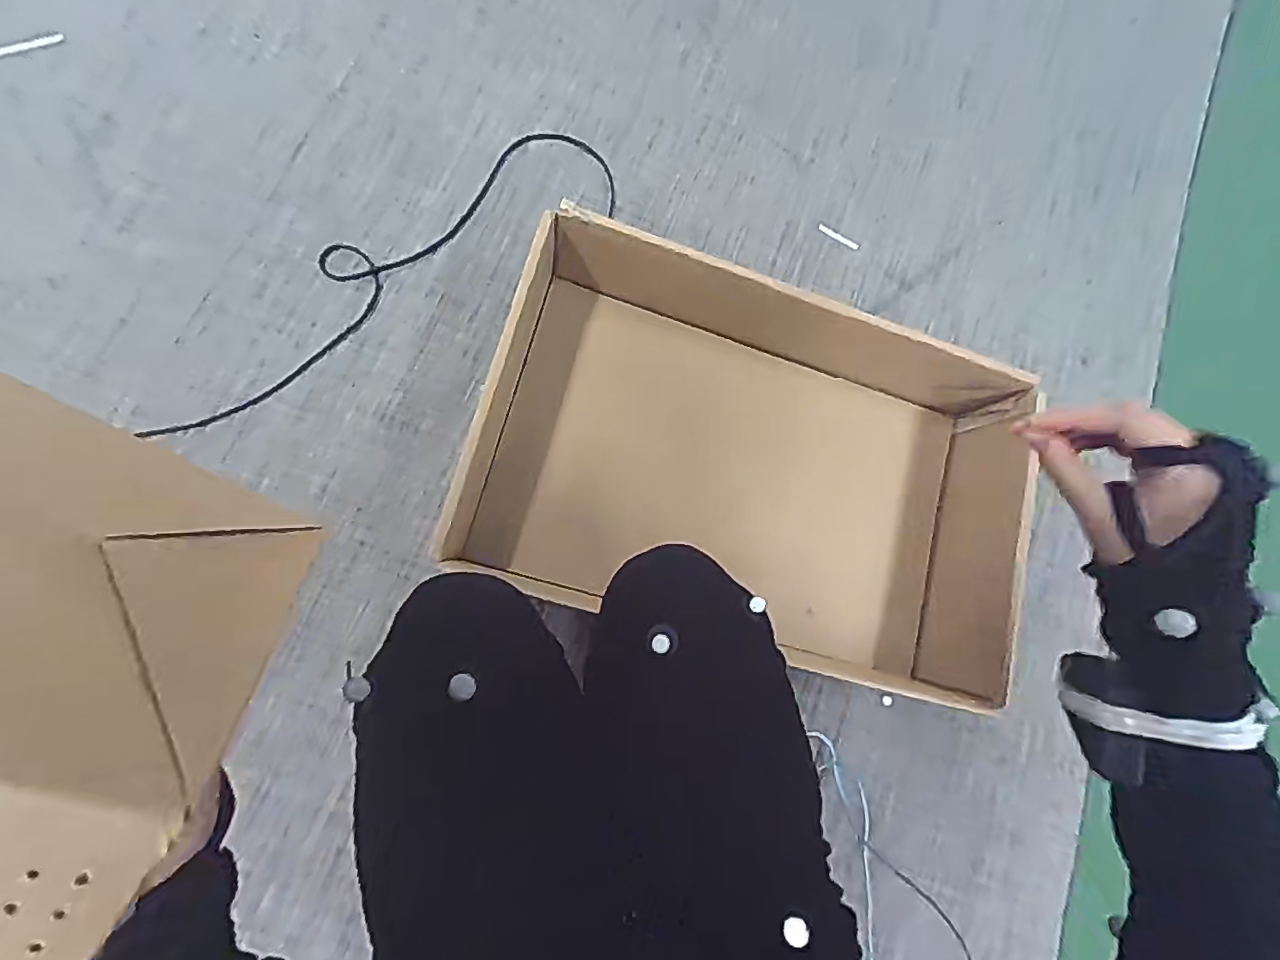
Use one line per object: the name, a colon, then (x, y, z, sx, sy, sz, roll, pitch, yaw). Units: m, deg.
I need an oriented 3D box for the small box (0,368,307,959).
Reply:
small box: (-0.212, 0.056, 0.129, 0.168, 0.179, 0.176, 35, 86, -26)
